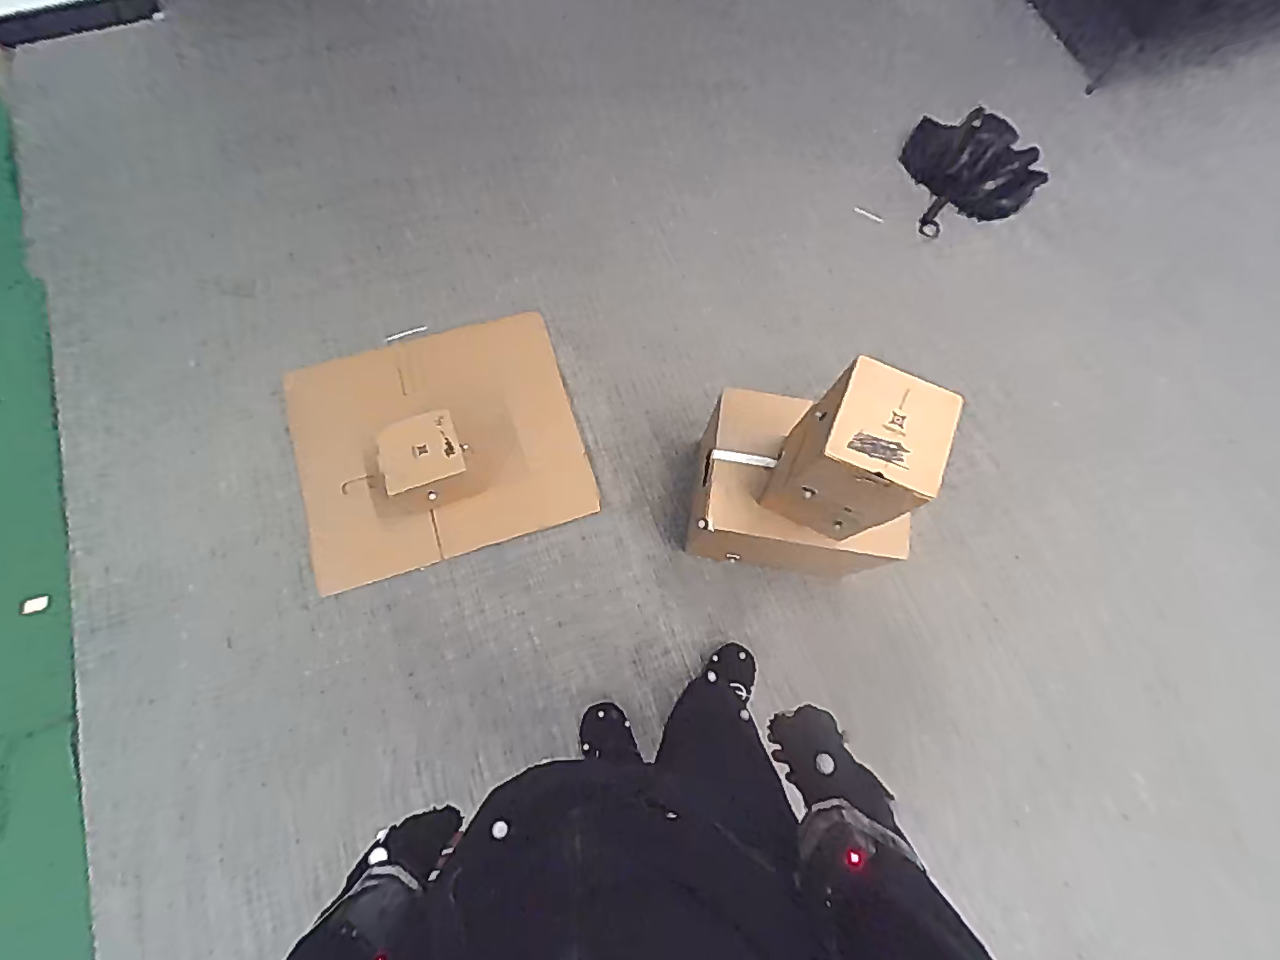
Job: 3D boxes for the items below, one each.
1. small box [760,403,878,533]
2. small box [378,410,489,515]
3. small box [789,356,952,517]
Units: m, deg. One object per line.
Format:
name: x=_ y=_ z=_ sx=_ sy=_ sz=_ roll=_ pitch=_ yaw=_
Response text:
small box: x=0.347 y=-0.013 z=1.009 sx=0.179 sy=0.176 sz=0.168 roll=23 pitch=73 yaw=6
small box: x=-0.486 y=-0.035 z=1.293 sx=0.179 sy=0.176 sz=0.168 roll=-23 pitch=73 yaw=-7
small box: x=0.350 y=-0.058 z=0.851 sx=0.168 sy=0.176 sz=0.179 roll=20 pitch=74 yaw=4
